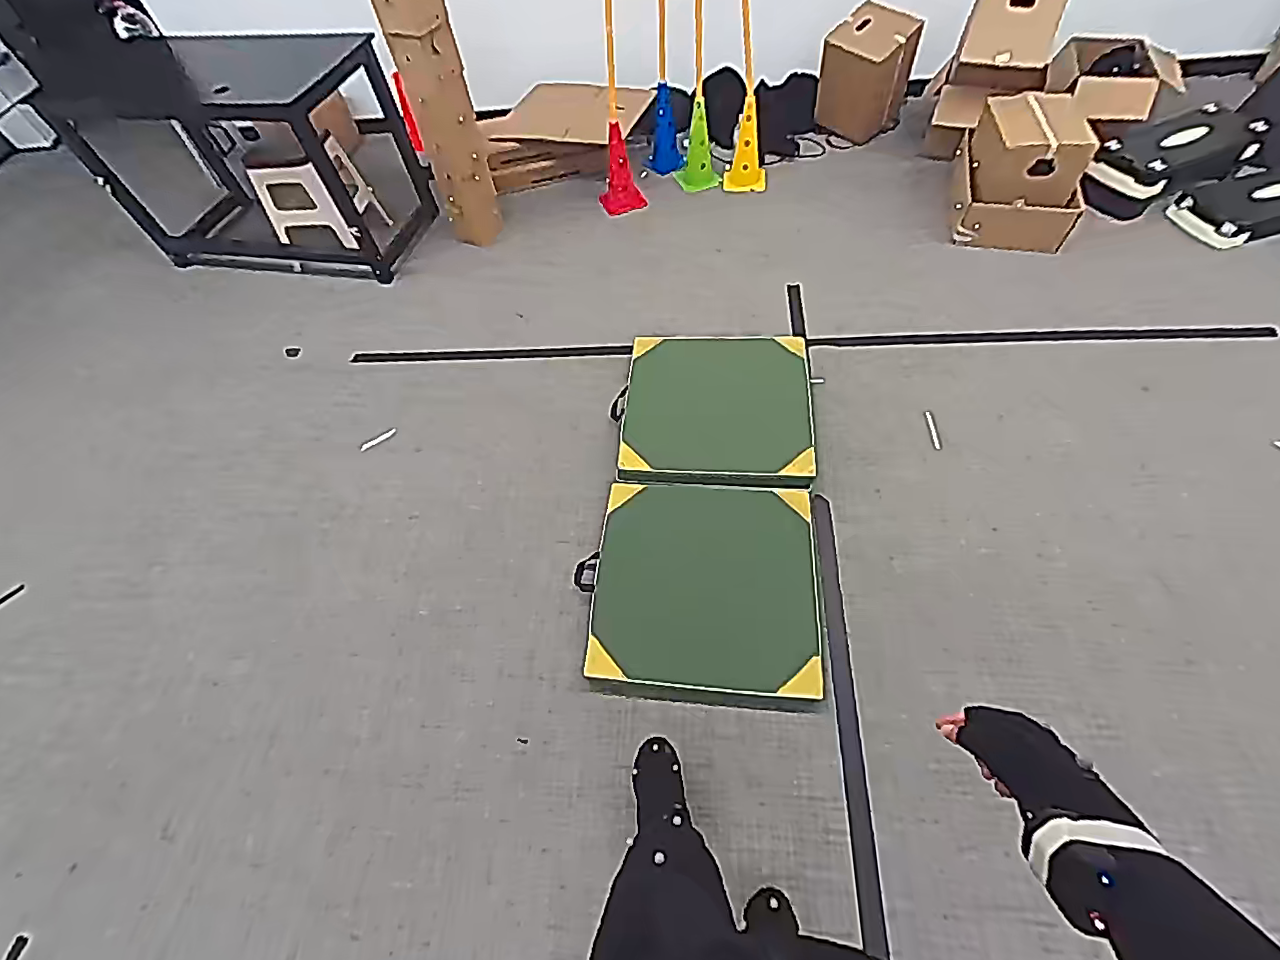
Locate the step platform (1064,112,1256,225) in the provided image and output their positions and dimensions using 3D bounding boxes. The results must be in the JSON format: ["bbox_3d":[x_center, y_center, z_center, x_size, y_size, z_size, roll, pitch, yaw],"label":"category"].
[{"bbox_3d":[2.206,-1.331,2.299,0.684,0.204,0.286,-24,58,-10],"label":"step platform"}]
